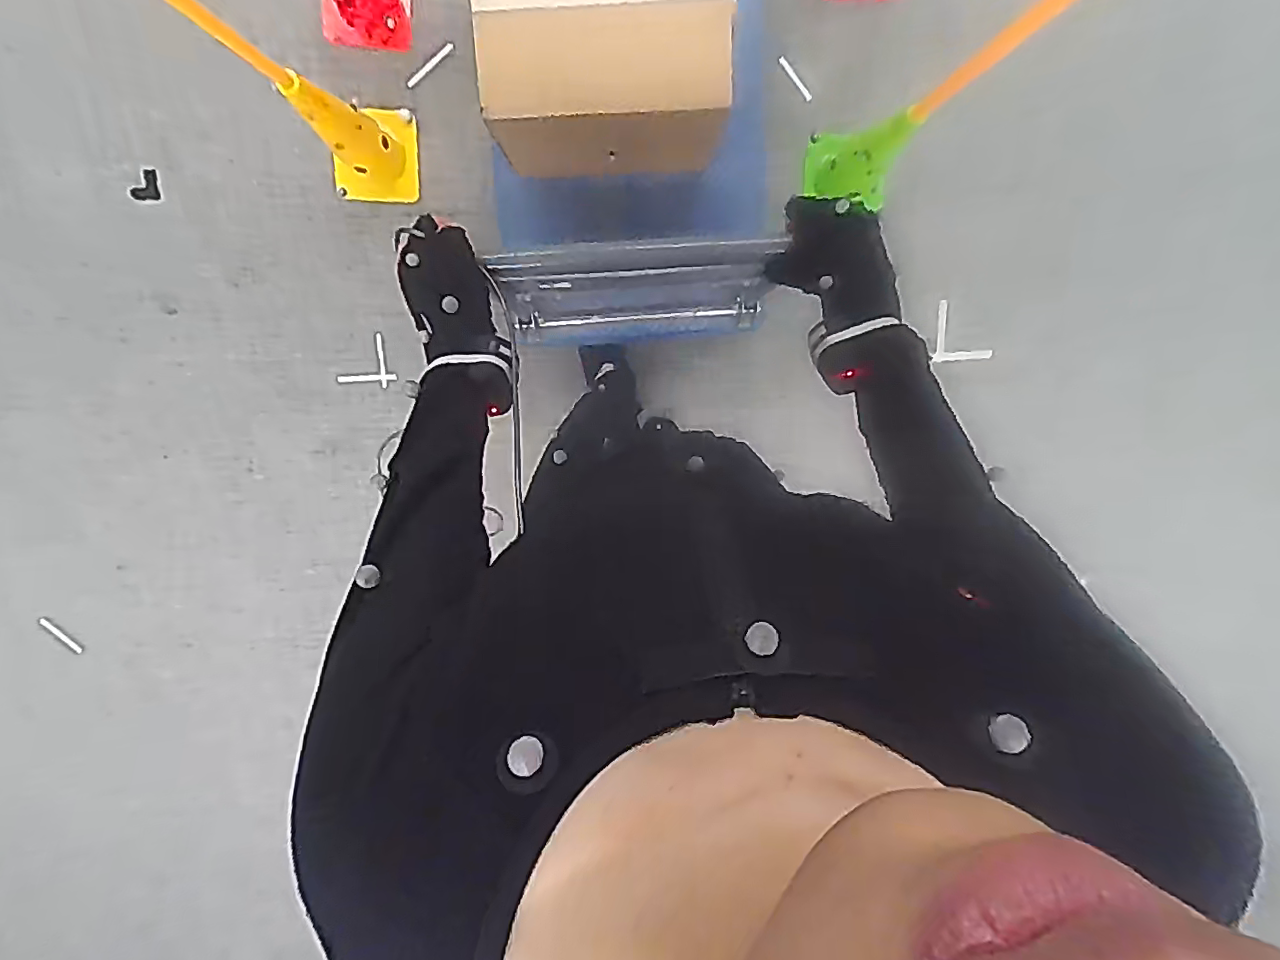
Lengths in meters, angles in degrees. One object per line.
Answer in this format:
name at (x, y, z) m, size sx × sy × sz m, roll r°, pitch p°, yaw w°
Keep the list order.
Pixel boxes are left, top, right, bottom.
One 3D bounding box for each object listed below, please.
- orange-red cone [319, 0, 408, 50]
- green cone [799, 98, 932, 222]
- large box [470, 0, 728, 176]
orange-red cone at (-0.619, -1.065, 1.058) m, size 0.198 × 0.360 × 0.199 m, roll 6°, pitch 101°, yaw -3°
green cone at (0.500, -0.706, 1.157) m, size 0.202 × 0.368 × 0.200 m, roll 2°, pitch 102°, yaw -3°
large box at (-0.064, -0.776, 0.983) m, size 0.408 × 0.320 × 0.320 m, roll -3°, pitch 103°, yaw 1°
